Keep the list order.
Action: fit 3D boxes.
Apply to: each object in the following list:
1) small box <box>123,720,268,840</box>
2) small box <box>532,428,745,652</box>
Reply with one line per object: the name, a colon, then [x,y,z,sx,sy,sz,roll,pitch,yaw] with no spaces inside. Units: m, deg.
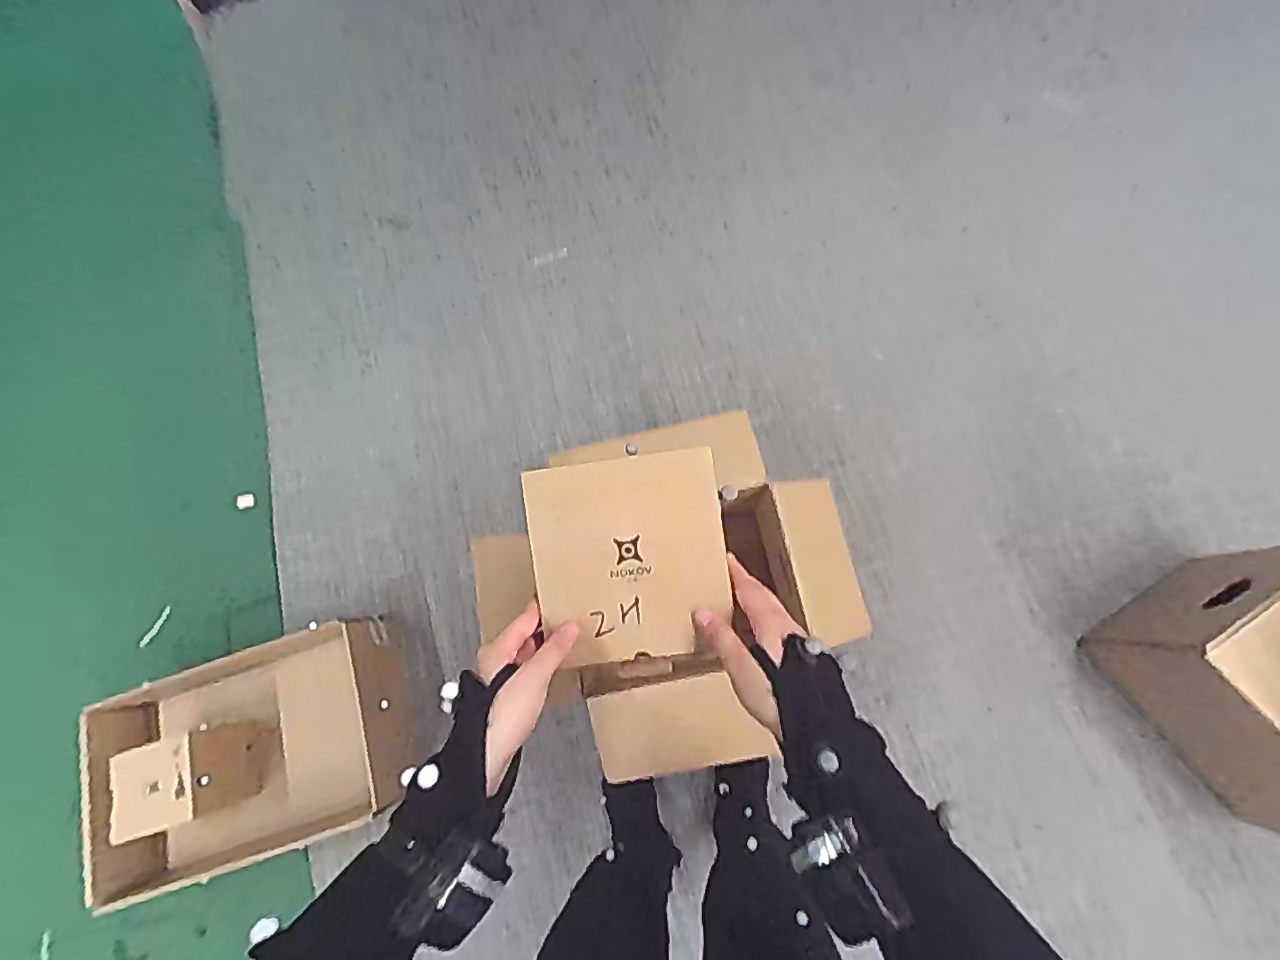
small box: [-0.943,0.631,1.156,0.179,0.176,0.168,-19,73,2]
small box: [0.005,0.051,0.536,0.168,0.176,0.179,-8,91,7]
